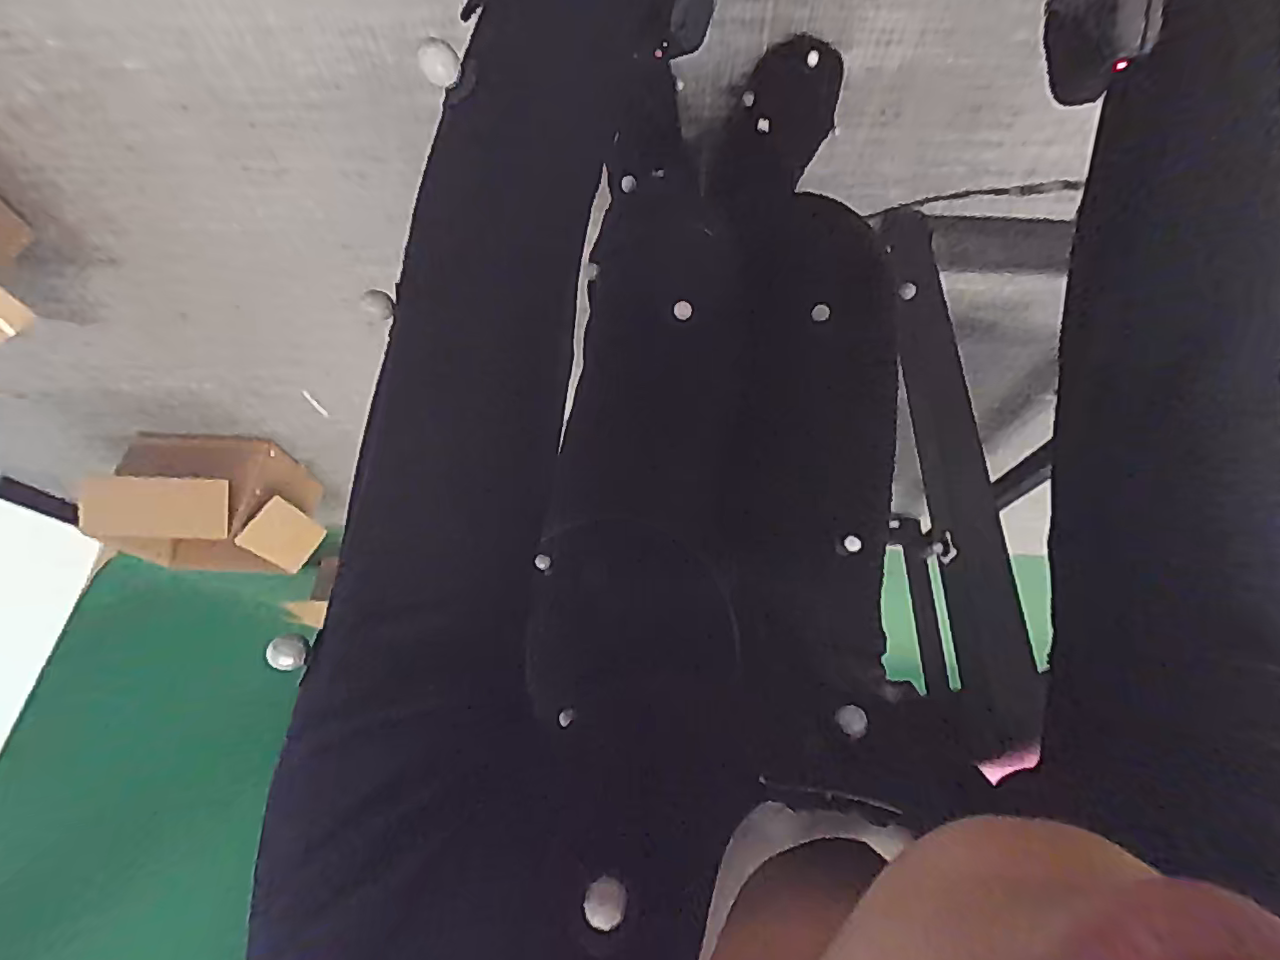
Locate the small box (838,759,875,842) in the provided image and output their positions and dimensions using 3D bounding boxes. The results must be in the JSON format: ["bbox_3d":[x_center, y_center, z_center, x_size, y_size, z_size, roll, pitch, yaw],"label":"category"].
[{"bbox_3d":[0.604,0.790,1.337,0.179,0.176,0.168,3,153,1],"label":"small box"}]

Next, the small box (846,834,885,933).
[{"bbox_3d":[0.594,0.933,1.258,0.179,0.176,0.168,4,154,2],"label":"small box"}]

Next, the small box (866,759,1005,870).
[{"bbox_3d":[0.560,0.642,1.056,0.179,0.176,0.168,1,153,4],"label":"small box"}]
